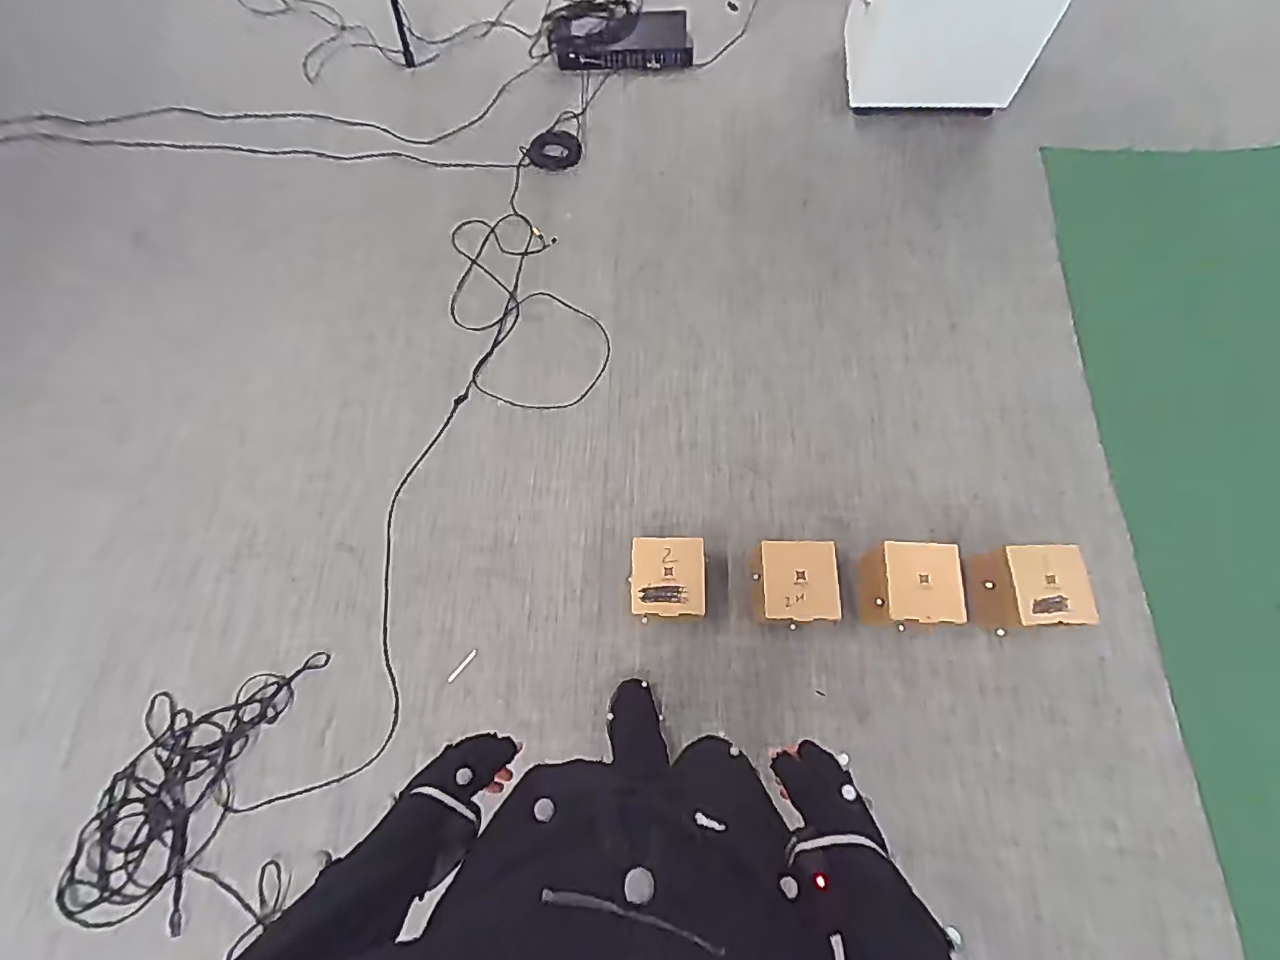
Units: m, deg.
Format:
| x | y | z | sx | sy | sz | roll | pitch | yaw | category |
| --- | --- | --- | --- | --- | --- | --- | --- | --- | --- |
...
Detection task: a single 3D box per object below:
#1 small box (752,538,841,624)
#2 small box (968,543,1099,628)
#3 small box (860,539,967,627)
| x | y | z | sx | sy | sz | roll | pitch | yaw | category |
| --- | --- | --- | --- | --- | --- | --- | --- | --- | --- |
| 0.359 | 0.241 | 1.273 | 0.168 | 0.176 | 0.179 | 0 | 72 | 4 | small box |
| 0.896 | 0.248 | 1.250 | 0.168 | 0.176 | 0.179 | -1 | 71 | 2 | small box |
| 0.628 | 0.245 | 1.263 | 0.168 | 0.176 | 0.179 | 2 | 72 | 3 | small box |
